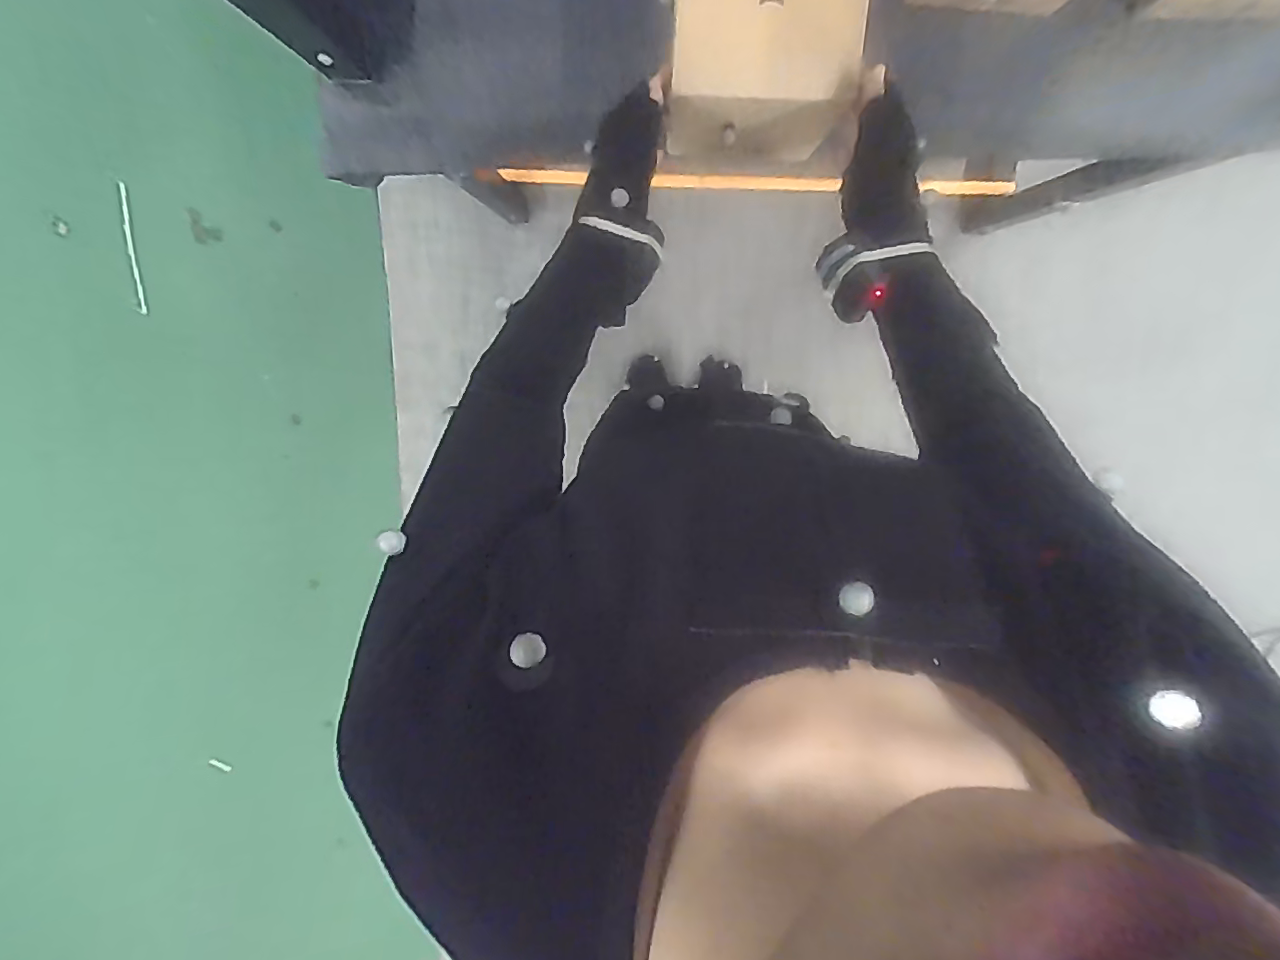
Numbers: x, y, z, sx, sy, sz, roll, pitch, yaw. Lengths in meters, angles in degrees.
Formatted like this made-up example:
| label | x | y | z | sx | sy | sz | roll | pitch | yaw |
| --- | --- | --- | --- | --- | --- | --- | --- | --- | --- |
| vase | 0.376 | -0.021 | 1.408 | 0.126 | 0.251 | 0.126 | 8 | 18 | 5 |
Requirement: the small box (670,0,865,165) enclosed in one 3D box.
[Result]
| label | x | y | z | sx | sy | sz | roll | pitch | yaw |
| --- | --- | --- | --- | --- | --- | --- | --- | --- | --- |
| small box | 0.117 | -0.439 | 0.546 | 0.168 | 0.176 | 0.179 | 3 | 103 | 1 |
